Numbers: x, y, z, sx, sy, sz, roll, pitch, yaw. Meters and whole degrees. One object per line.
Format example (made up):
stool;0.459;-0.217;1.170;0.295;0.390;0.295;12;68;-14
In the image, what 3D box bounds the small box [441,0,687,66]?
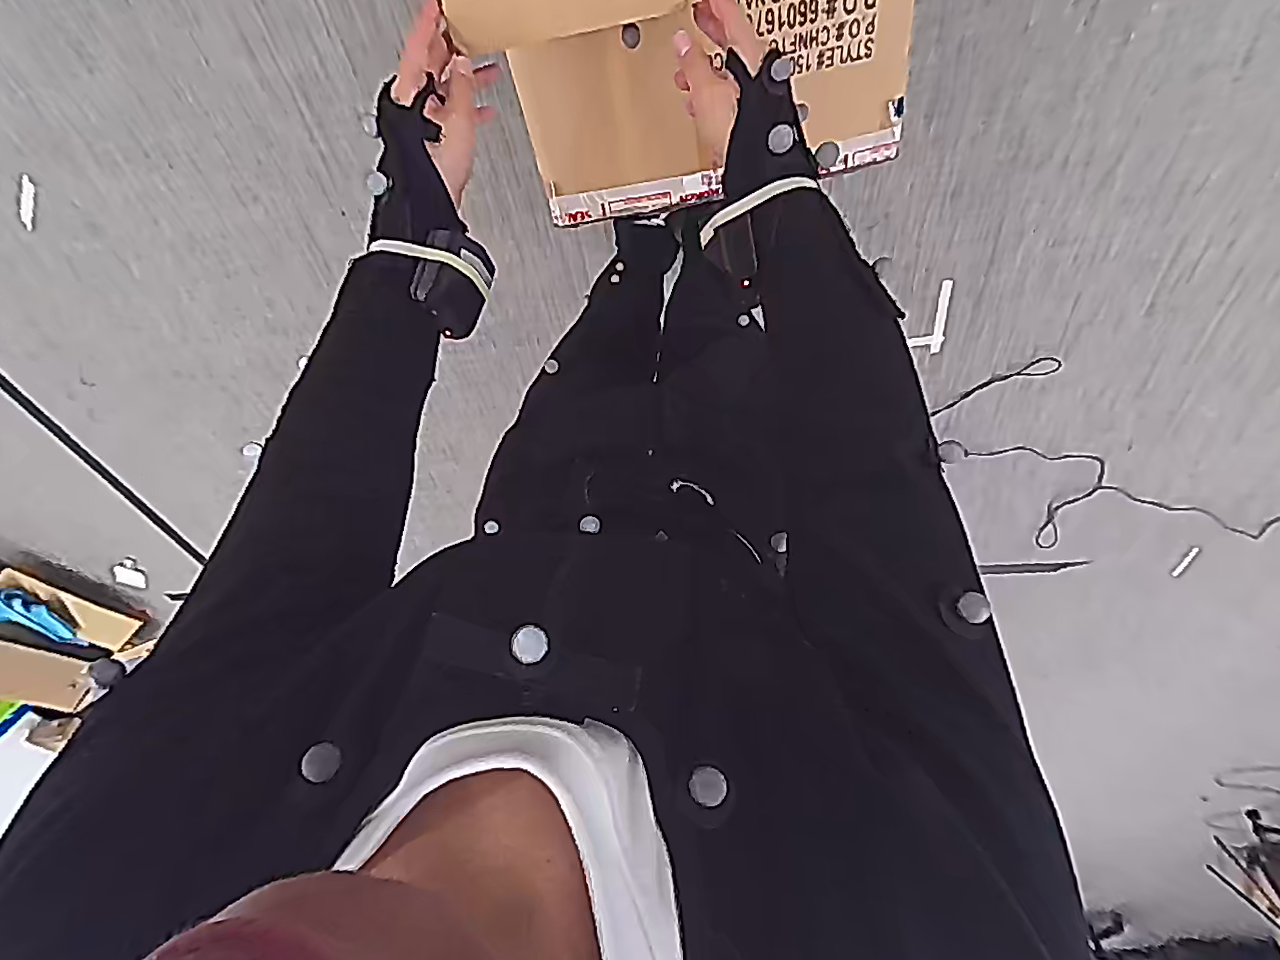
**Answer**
small box;-0.058;-0.435;0.401;0.179;0.176;0.168;-3;134;11
